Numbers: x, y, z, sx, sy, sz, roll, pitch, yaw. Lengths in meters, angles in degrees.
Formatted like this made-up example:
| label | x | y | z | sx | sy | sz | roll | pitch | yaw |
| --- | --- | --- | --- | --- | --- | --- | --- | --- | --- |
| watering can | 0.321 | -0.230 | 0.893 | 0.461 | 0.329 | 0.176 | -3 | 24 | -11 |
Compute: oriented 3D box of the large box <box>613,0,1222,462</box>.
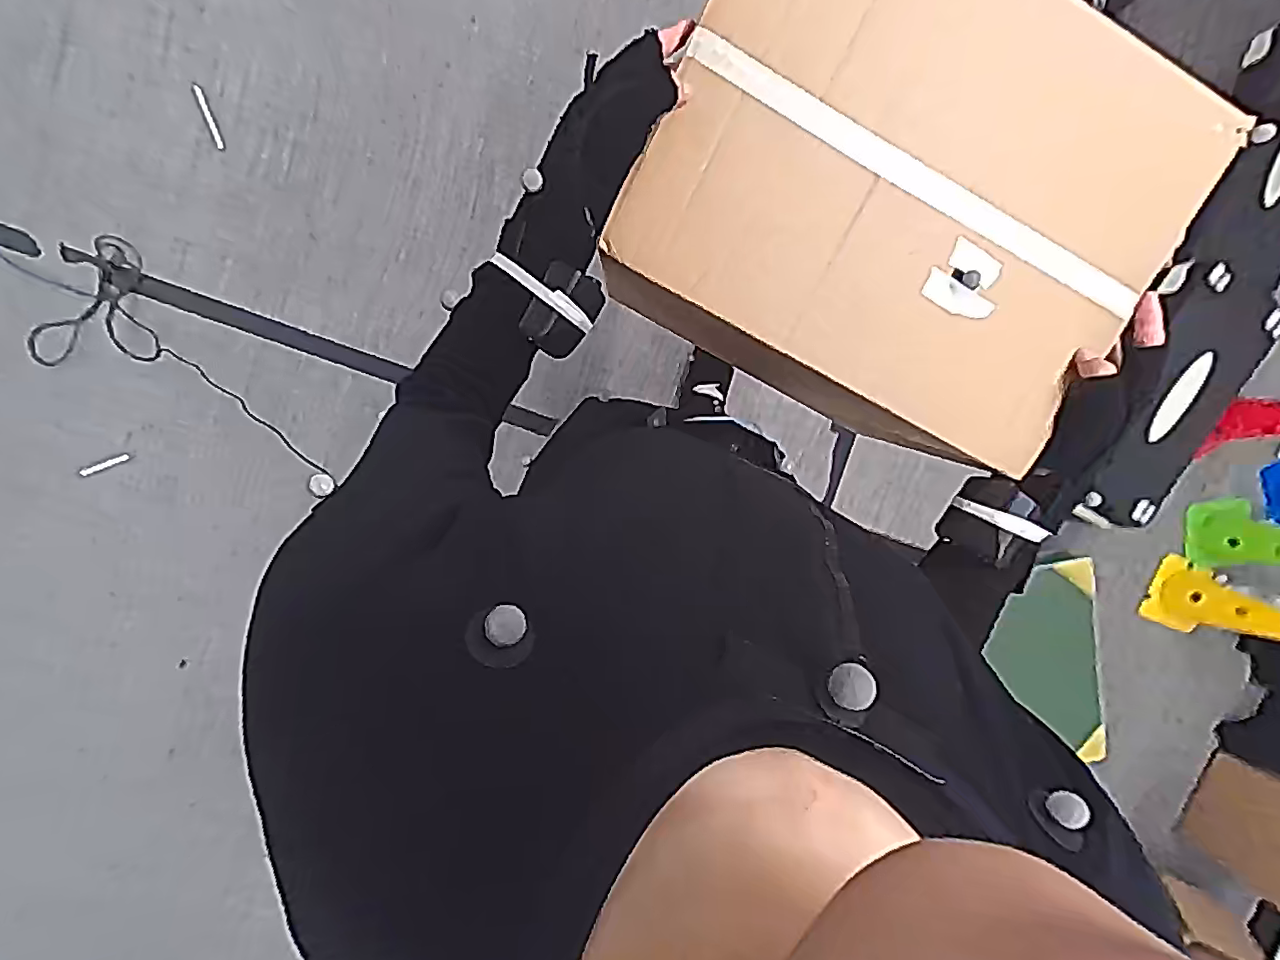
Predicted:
| label | x | y | z | sx | sy | sz | roll | pitch | yaw |
| --- | --- | --- | --- | --- | --- | --- | --- | --- | --- |
| large box | 0.212 | -0.262 | 0.573 | 0.408 | 0.320 | 0.320 | 27 | 101 | -8 |
